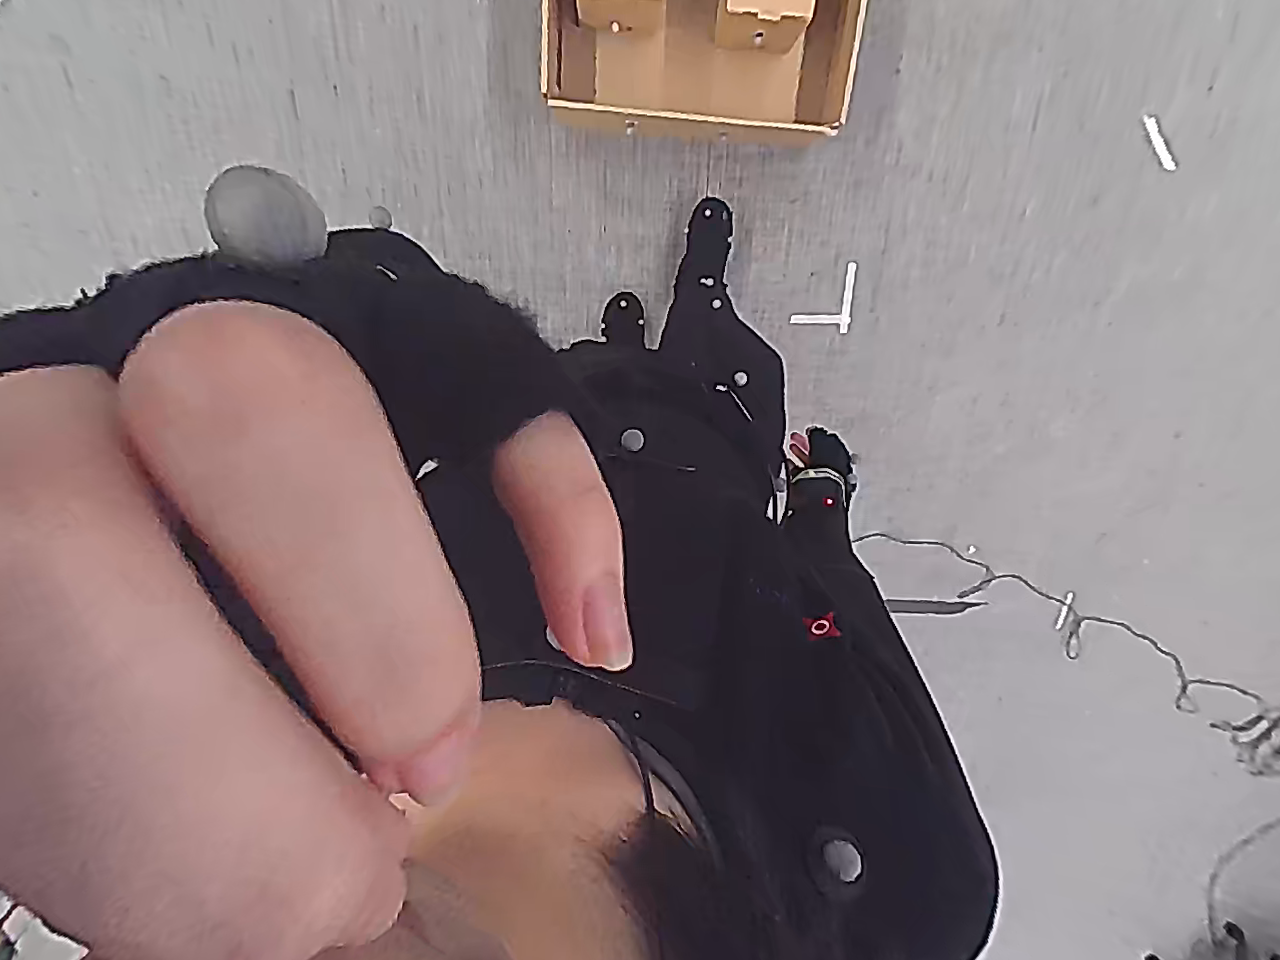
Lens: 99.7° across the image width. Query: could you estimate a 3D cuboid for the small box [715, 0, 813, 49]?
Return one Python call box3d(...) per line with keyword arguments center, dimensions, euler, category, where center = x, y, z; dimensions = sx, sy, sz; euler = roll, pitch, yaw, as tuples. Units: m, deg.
box3d(center=(0.247, -0.979, 1.056), dimensions=(0.168, 0.176, 0.179), euler=(4, 112, -3), category="small box")
